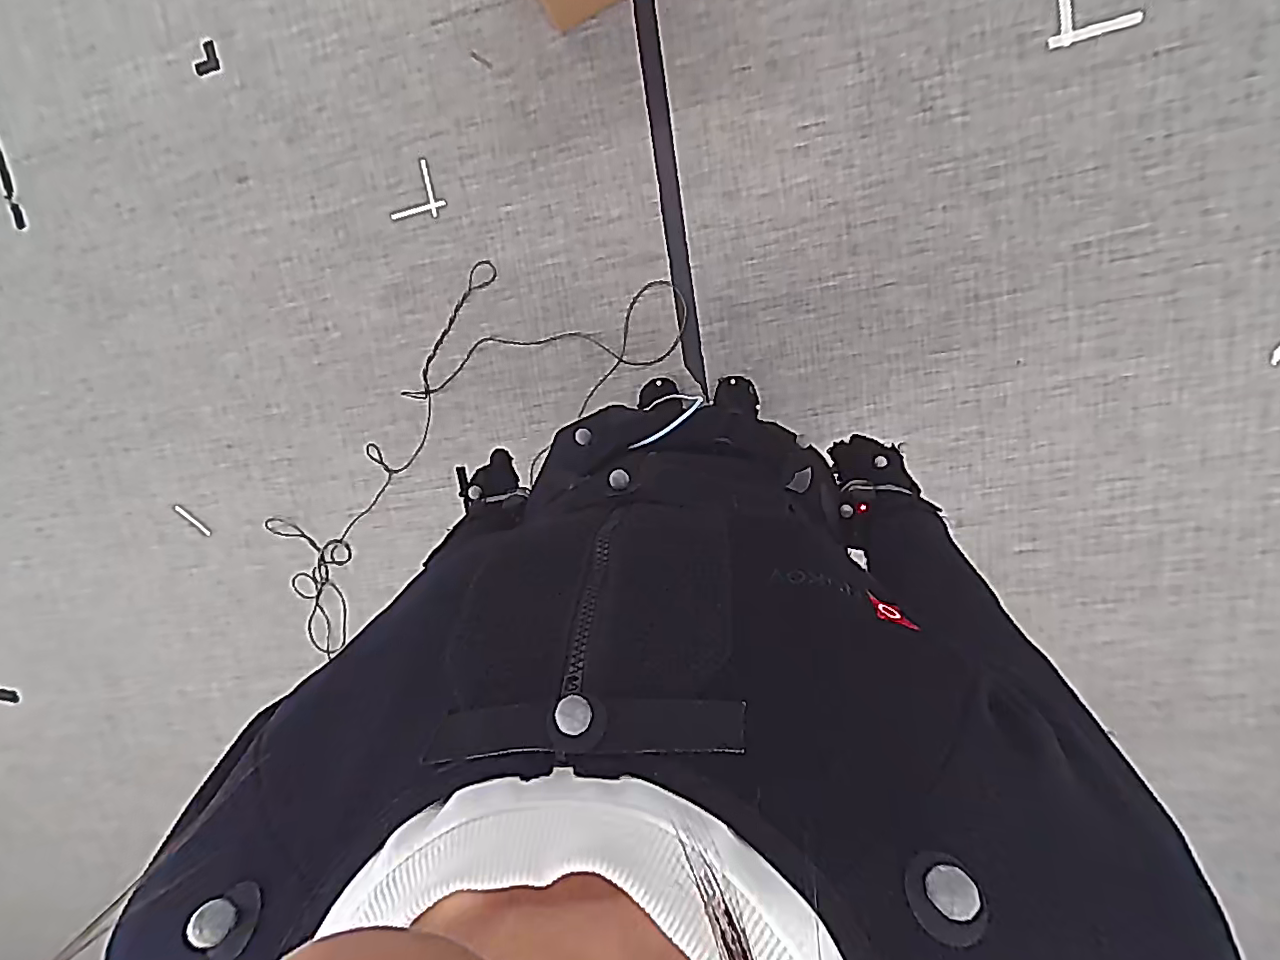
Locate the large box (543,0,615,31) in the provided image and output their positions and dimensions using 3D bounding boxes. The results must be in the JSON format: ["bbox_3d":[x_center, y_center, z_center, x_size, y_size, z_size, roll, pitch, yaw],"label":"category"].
[{"bbox_3d":[-0.087,-1.221,1.063,0.408,0.320,0.320,-21,99,11],"label":"large box"}]
